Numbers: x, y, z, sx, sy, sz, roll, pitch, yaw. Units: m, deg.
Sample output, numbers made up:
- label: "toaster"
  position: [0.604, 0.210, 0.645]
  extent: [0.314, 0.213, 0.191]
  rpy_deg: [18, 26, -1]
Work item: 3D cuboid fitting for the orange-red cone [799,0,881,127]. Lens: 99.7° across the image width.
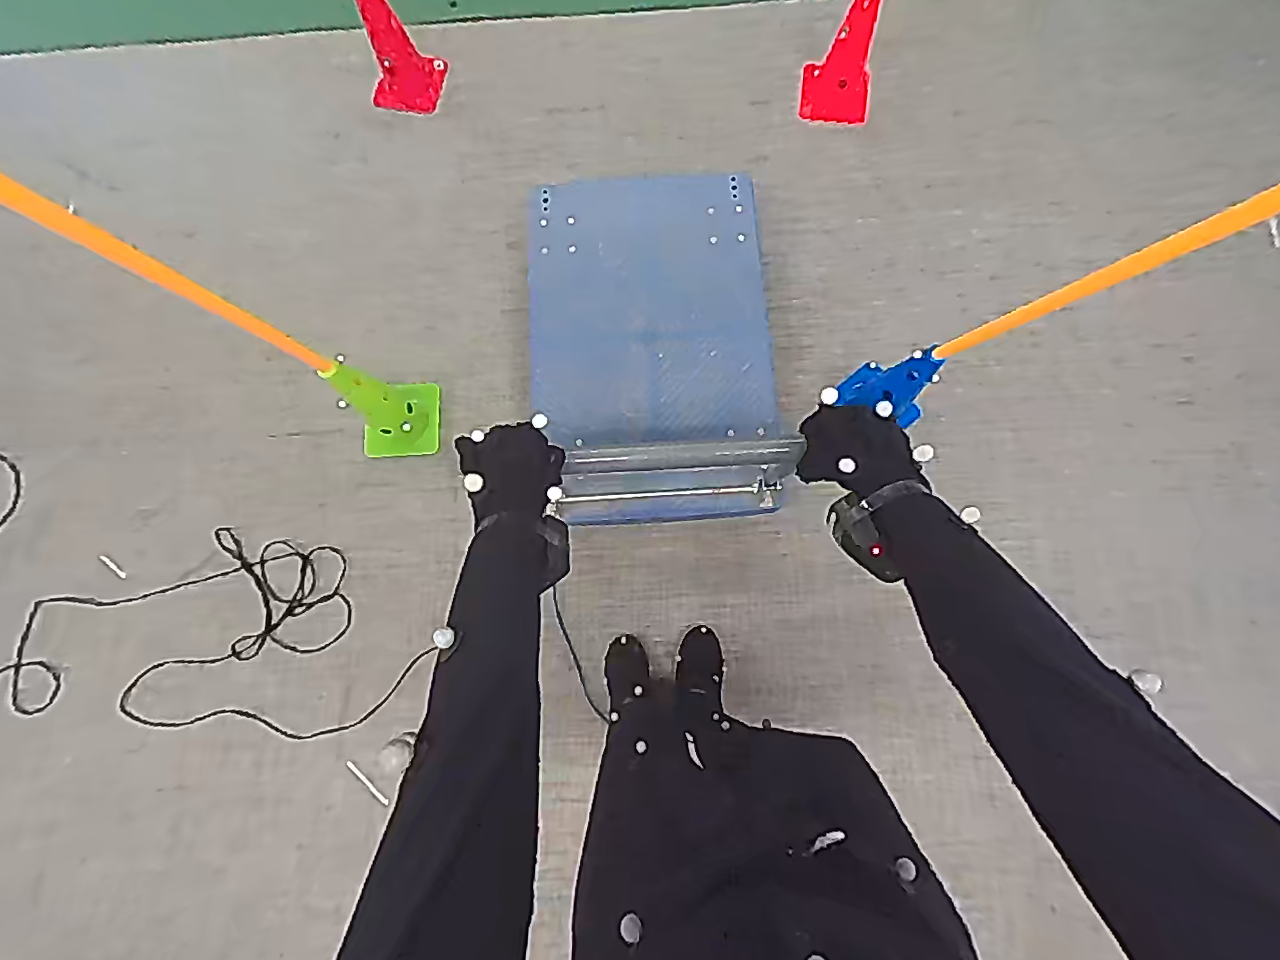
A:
- label: "orange-red cone"
  position: [0.578, -1.181, 1.454]
  extent: [0.198, 0.360, 0.199]
  rpy_deg: [8, 80, 4]
